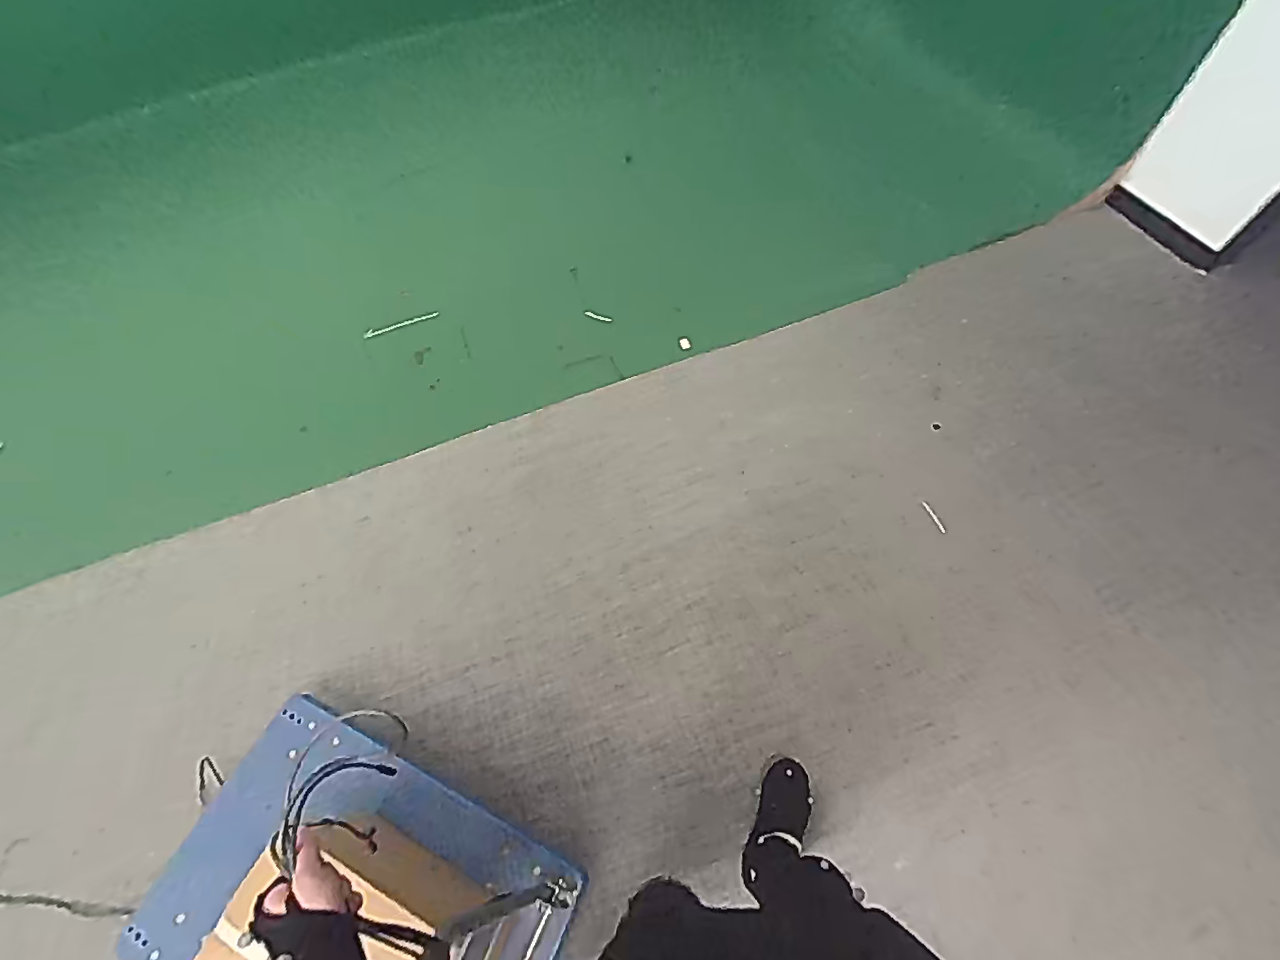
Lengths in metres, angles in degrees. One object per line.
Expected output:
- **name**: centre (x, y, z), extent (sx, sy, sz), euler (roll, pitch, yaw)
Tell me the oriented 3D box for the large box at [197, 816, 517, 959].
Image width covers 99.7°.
- **large box**: centre (-0.504, 0.875, 0.982), extent (0.408, 0.320, 0.320), euler (20, 65, 17)
